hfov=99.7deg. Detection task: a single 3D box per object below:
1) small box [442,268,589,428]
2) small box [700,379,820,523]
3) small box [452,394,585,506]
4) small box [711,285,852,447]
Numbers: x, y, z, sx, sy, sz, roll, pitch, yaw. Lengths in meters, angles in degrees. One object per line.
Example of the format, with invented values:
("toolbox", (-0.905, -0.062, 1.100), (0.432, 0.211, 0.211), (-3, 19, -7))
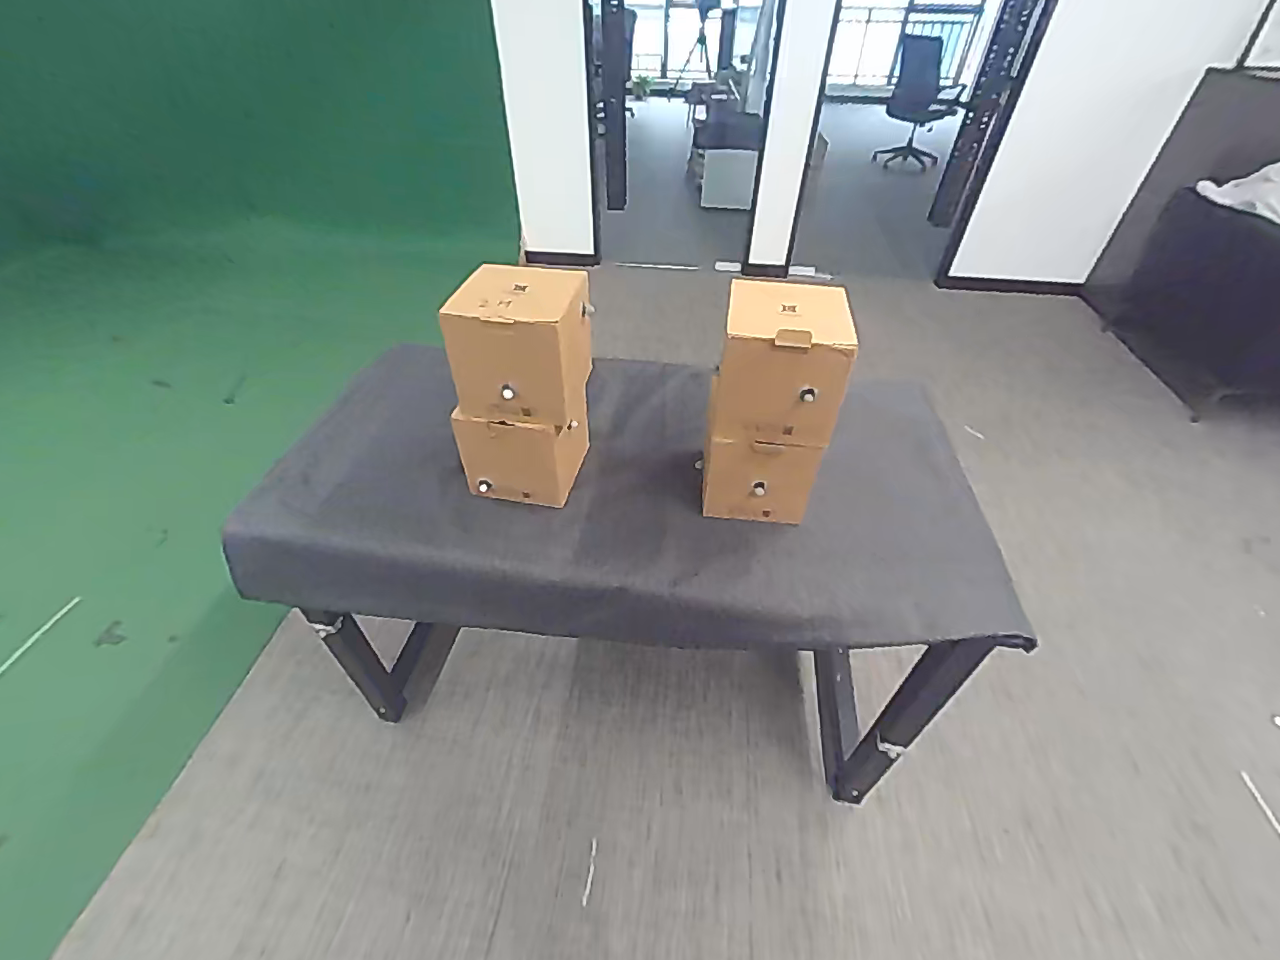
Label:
("small box", (-0.174, -0.202, 0.823), (0.168, 0.176, 0.179), (6, 42, 6))
("small box", (0.191, -0.047, 0.905), (0.168, 0.176, 0.179), (5, 43, 4))
("small box", (-0.194, -0.077, 0.930), (0.168, 0.176, 0.179), (8, 42, 7))
("small box", (0.197, -0.167, 0.795), (0.168, 0.176, 0.179), (7, 42, 6))
